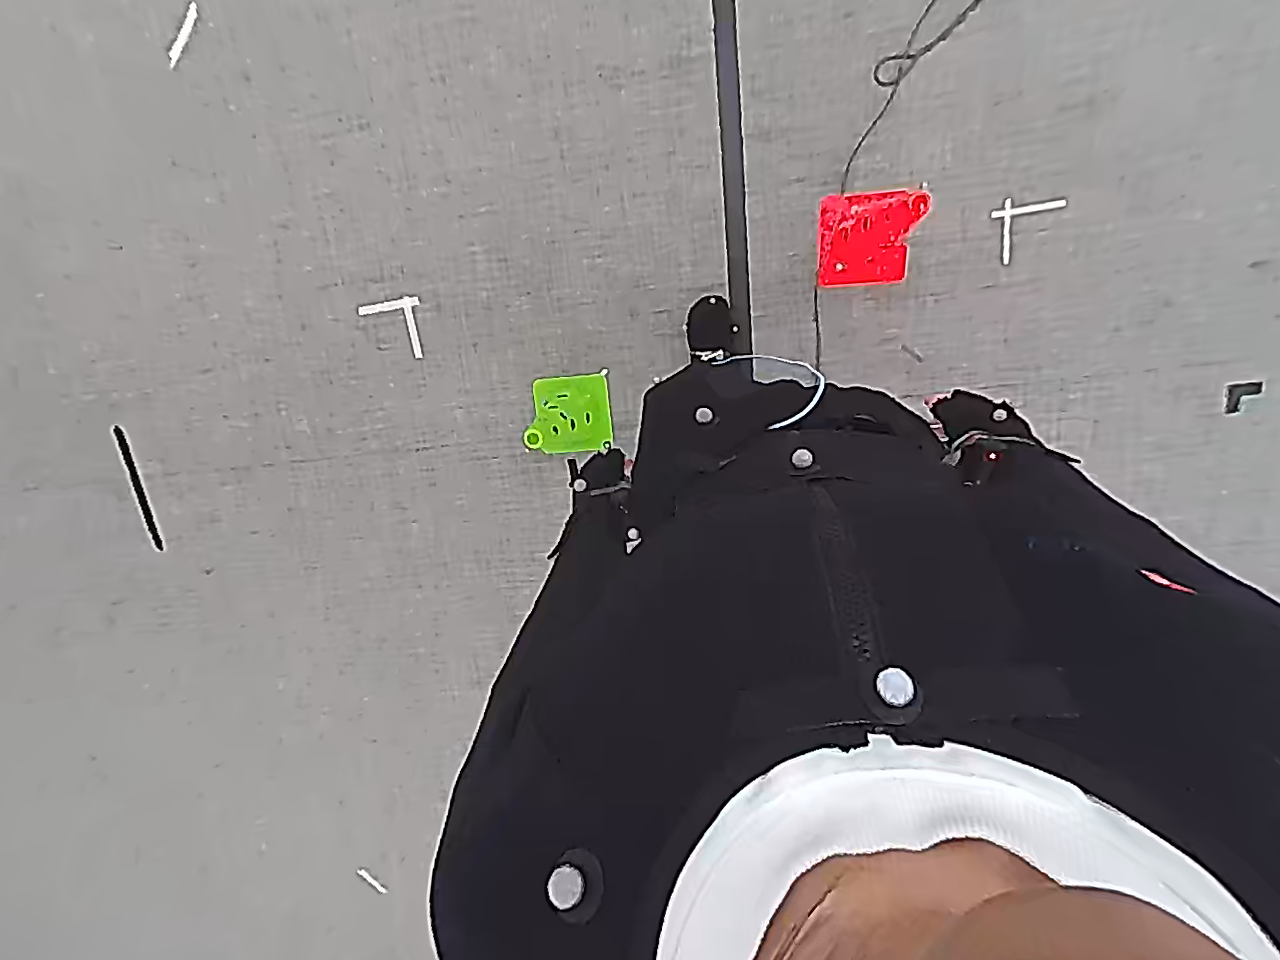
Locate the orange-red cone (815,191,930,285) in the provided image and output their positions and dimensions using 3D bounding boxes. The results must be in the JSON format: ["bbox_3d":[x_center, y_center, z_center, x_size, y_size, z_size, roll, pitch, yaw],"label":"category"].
[{"bbox_3d":[0.494,-0.513,1.085,0.199,0.360,0.198,0,105,6],"label":"orange-red cone"}]

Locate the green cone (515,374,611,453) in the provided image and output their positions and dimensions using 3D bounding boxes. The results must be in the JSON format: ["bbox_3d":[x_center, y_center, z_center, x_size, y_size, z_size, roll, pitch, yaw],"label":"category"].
[{"bbox_3d":[-0.204,-0.132,1.260,0.202,0.368,0.200,-4,103,9],"label":"green cone"}]
